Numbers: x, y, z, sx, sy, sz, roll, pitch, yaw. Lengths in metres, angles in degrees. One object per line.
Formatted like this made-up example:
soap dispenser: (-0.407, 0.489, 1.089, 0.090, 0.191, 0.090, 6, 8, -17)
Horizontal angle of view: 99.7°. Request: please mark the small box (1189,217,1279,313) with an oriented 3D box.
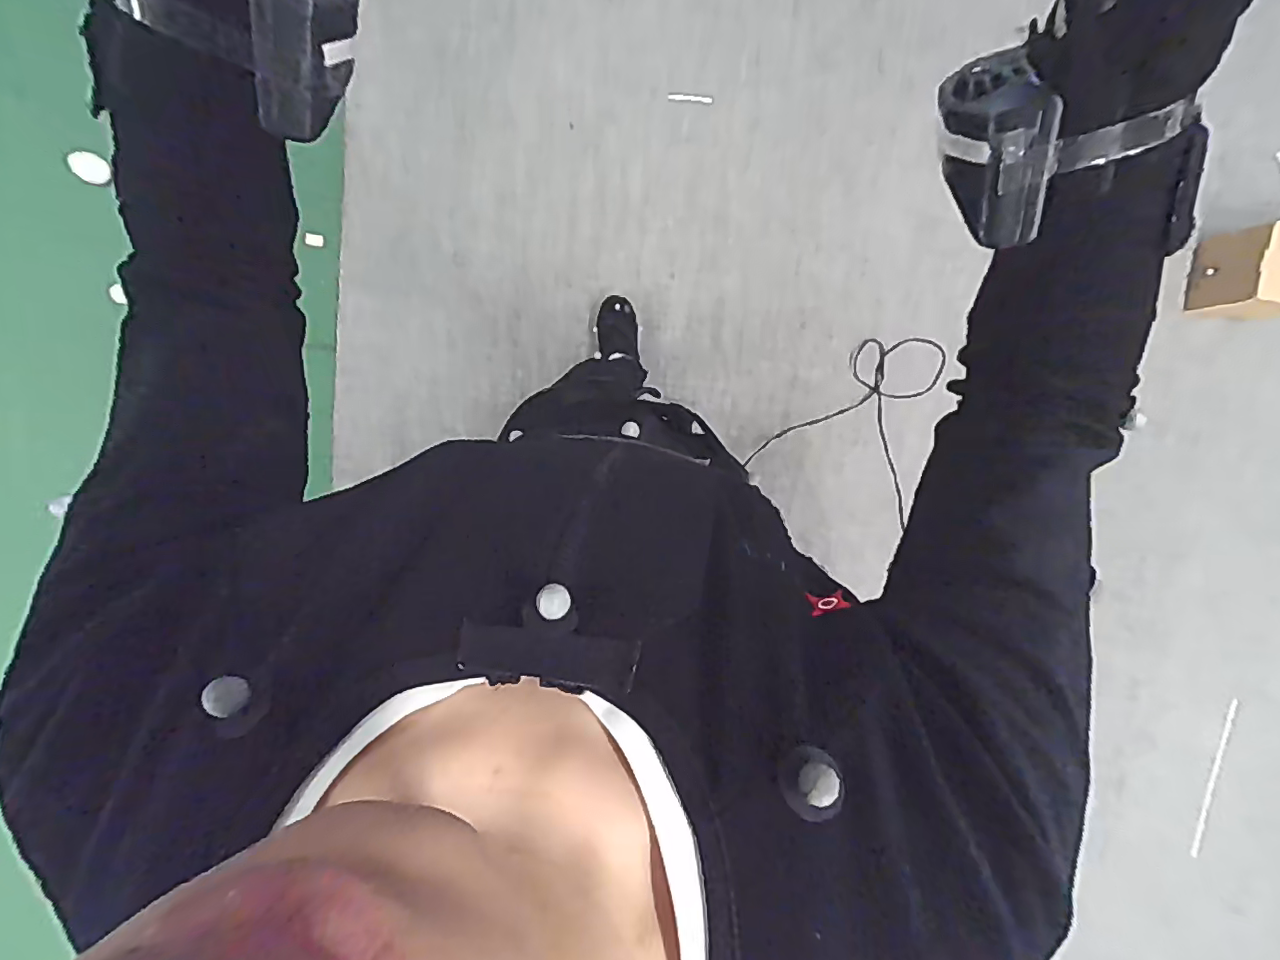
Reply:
small box: (1.423, -0.479, 1.219, 0.179, 0.176, 0.168, 7, 98, 3)
